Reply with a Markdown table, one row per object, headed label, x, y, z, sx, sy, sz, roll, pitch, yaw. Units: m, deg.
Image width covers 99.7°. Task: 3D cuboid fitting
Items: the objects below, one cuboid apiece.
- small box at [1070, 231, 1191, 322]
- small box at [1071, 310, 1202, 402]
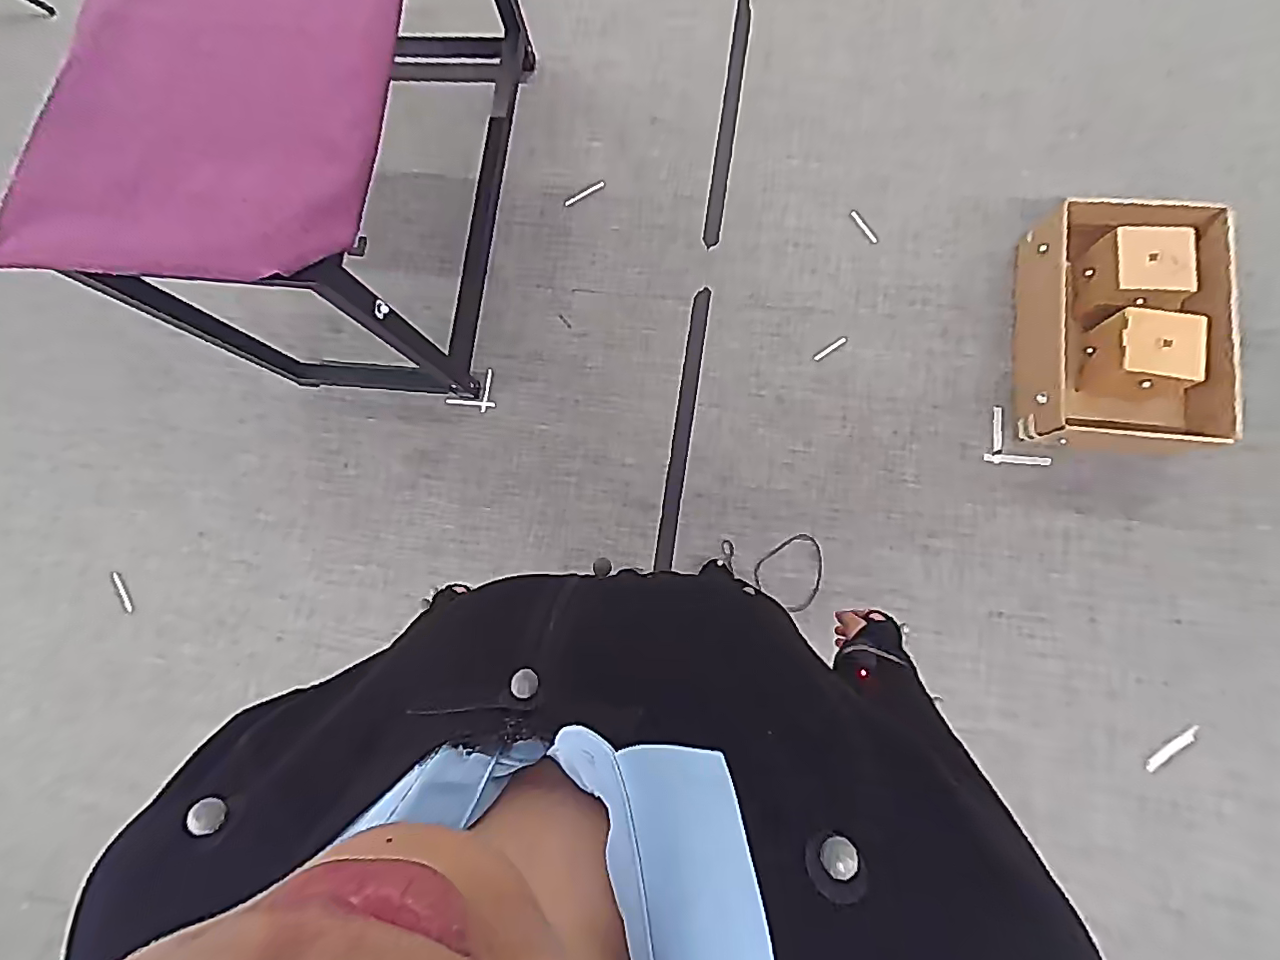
| label | x | y | z | sx | sy | sz | roll | pitch | yaw |
| --- | --- | --- | --- | --- | --- | --- | --- | --- | --- |
| small box | 1.258 | -0.522 | 1.402 | 0.179 | 0.176 | 0.168 | 4 | 83 | 5 |
| small box | 1.252 | -0.306 | 1.371 | 0.179 | 0.176 | 0.168 | 11 | 82 | 7 |
